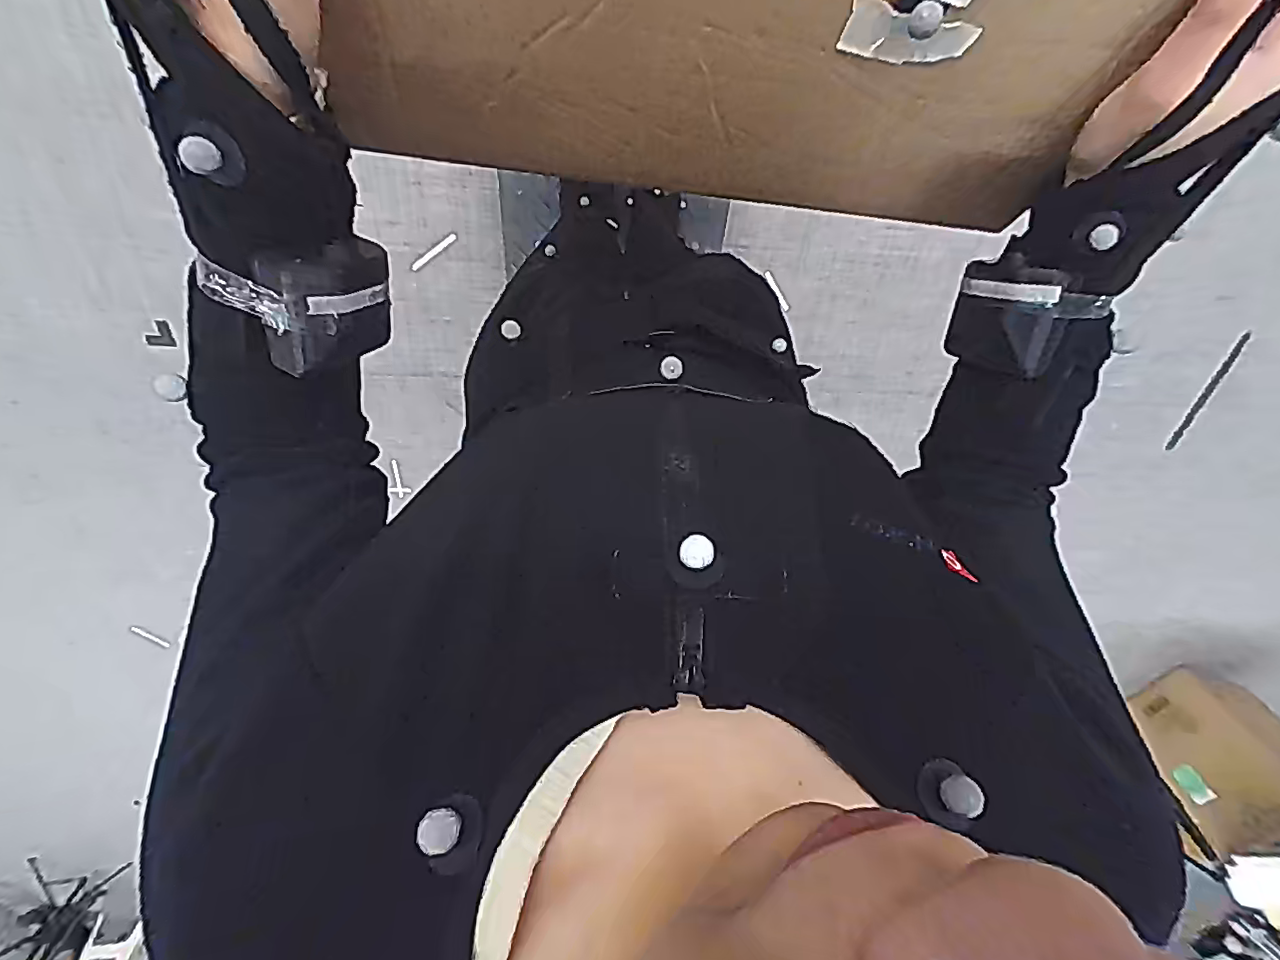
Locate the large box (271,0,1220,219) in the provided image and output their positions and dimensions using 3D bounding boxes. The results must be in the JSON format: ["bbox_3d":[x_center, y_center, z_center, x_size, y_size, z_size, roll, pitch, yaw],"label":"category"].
[{"bbox_3d":[0.049,-0.361,0.225,0.408,0.320,0.320,1,163,-10],"label":"large box"}]
